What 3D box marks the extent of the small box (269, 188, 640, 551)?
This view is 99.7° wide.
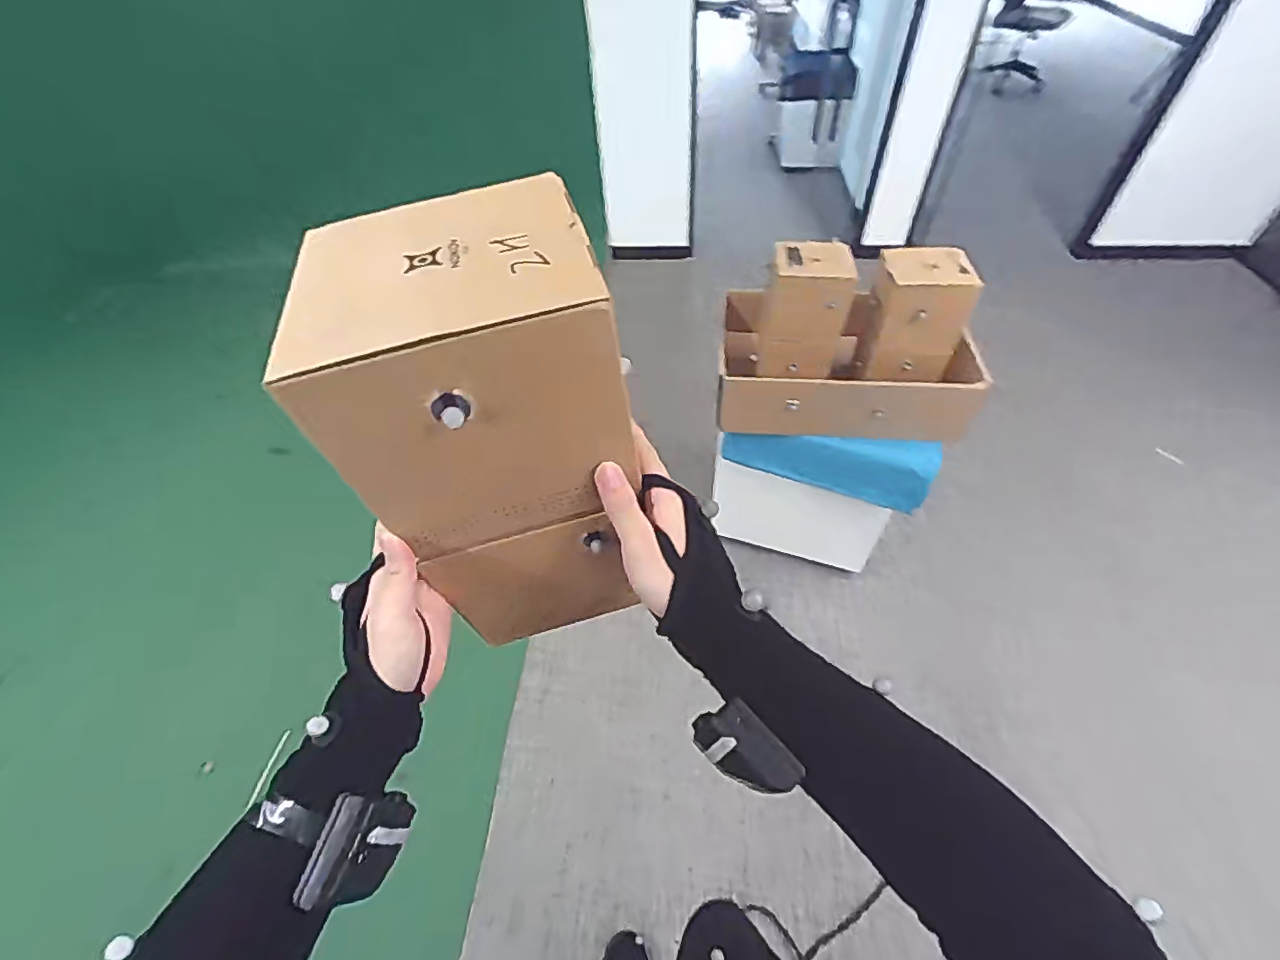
[{"bbox_3d":[-0.109,-0.072,0.382,0.179,0.176,0.168,-15,51,-4],"label":"small box"}]

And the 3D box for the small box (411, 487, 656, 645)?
[{"bbox_3d":[-0.093,0.033,0.511,0.179,0.176,0.168,-15,51,-4],"label":"small box"}]

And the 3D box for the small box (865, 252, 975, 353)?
[{"bbox_3d":[0.636,-0.410,1.257,0.179,0.176,0.168,1,49,7],"label":"small box"}]
